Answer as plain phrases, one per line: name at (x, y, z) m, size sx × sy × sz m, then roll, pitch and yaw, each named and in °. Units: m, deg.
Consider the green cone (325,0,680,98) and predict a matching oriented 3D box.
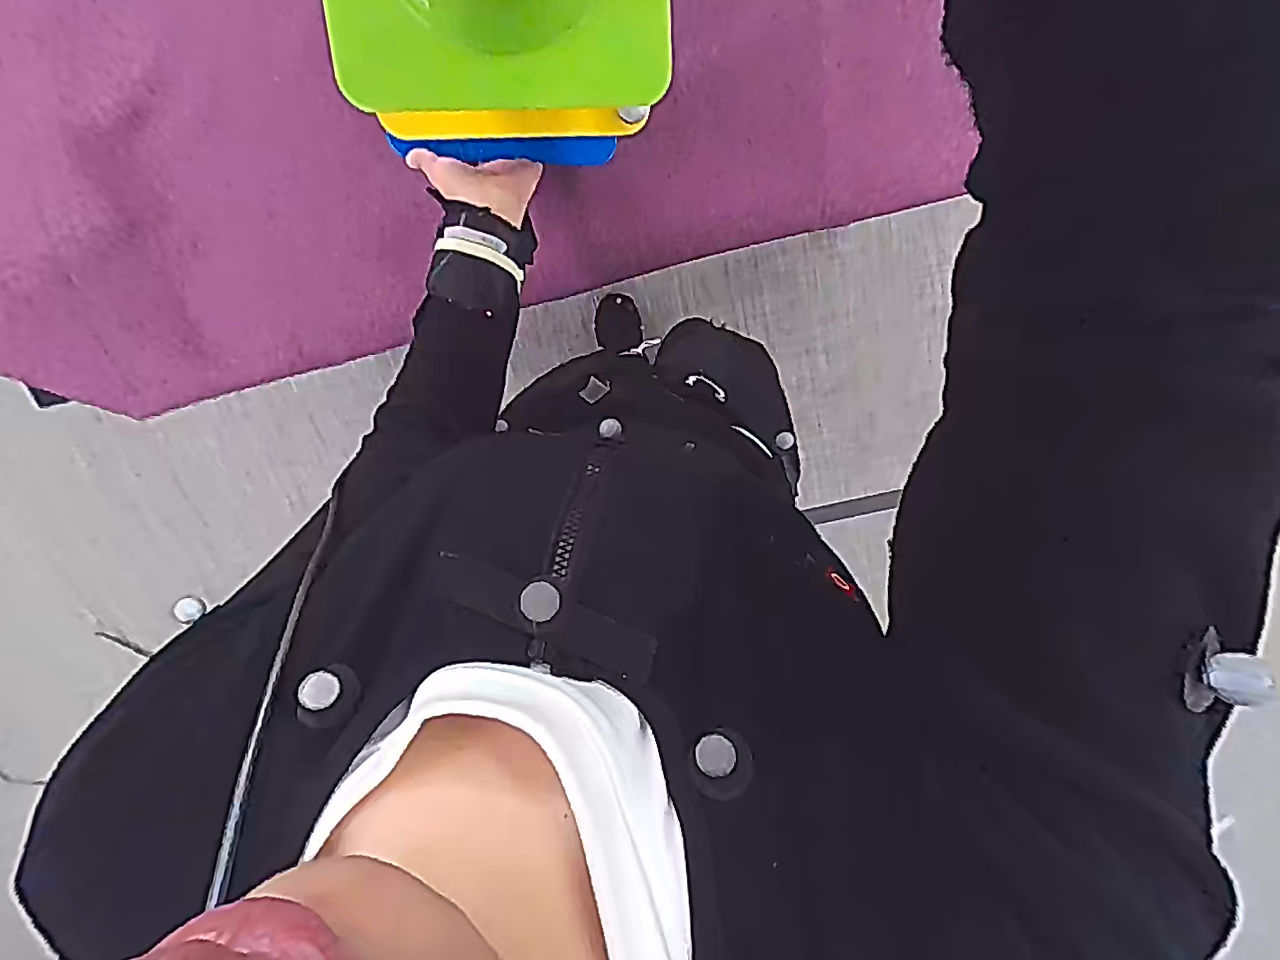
green cone at (-0.070, -0.283, 0.128) m, size 0.200 × 0.368 × 0.202 m, roll -4°, pitch 104°, yaw -2°
